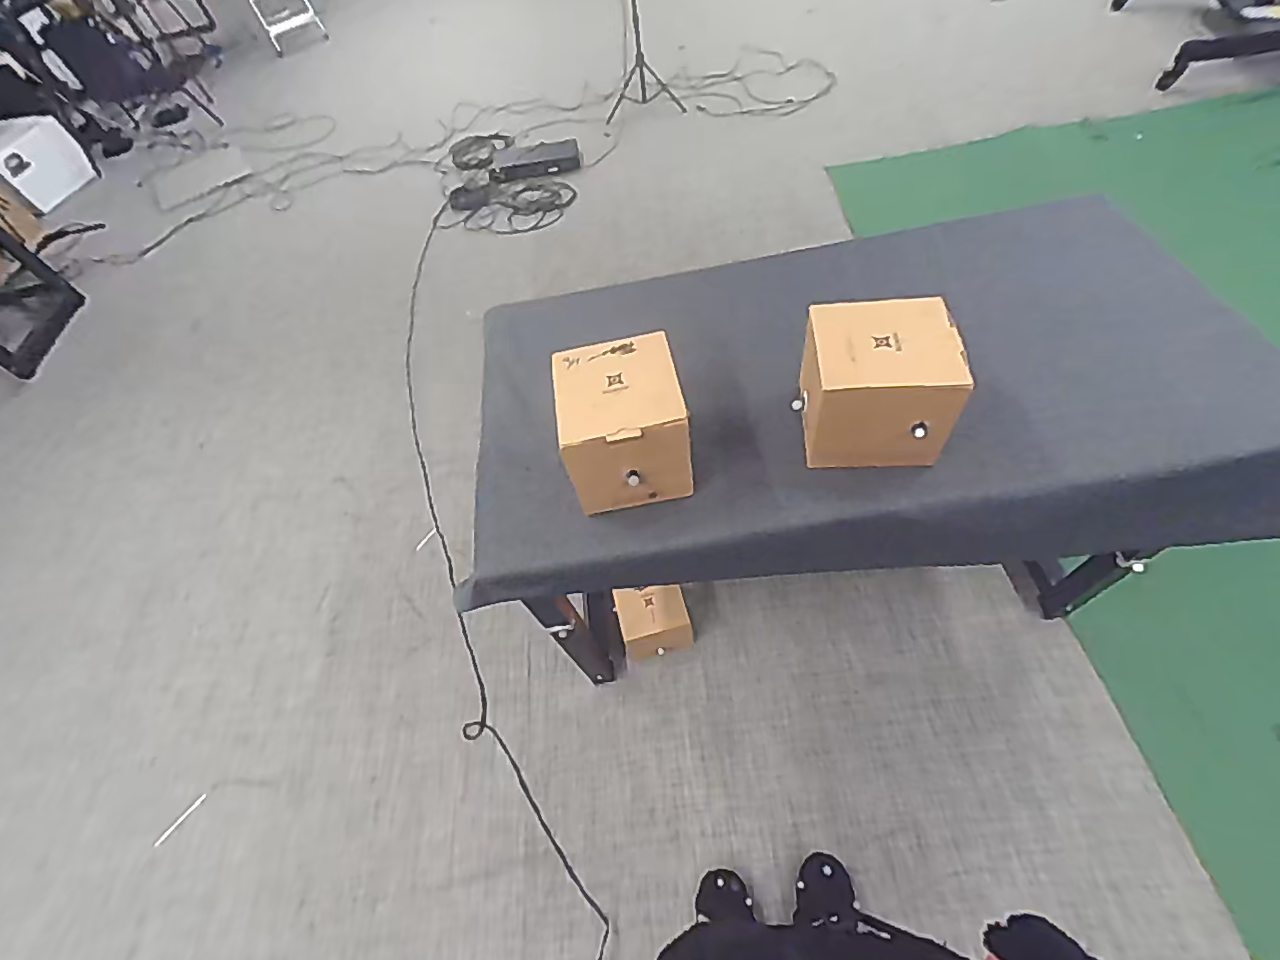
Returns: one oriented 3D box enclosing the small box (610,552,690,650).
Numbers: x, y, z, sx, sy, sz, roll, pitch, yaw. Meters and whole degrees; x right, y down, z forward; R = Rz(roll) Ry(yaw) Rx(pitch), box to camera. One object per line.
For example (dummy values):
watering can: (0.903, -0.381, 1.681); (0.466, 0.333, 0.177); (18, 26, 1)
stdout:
small box: (0.028, 0.313, 1.392); (0.168, 0.176, 0.179); (-15, 57, -1)

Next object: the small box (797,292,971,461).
small box: (0.327, -0.140, 0.767); (0.179, 0.176, 0.168); (-2, 55, 9)

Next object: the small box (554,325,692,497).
small box: (-0.021, -0.091, 0.784); (0.168, 0.176, 0.179); (-11, 55, 1)
